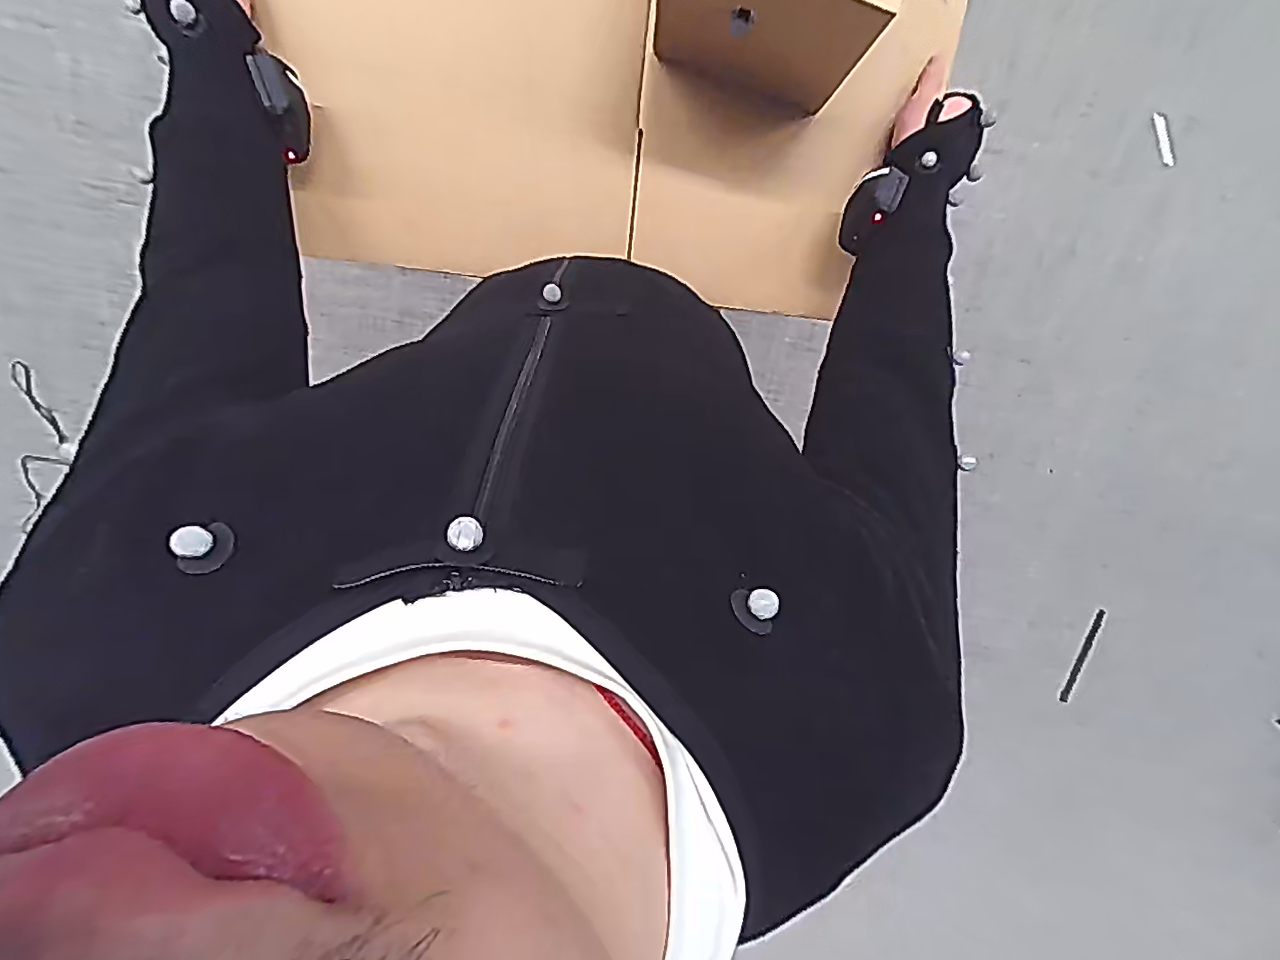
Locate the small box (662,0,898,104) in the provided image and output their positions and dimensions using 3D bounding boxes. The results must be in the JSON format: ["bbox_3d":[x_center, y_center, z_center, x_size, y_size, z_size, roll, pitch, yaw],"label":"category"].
[{"bbox_3d":[0.122,-0.448,0.440,0.179,0.176,0.168,16,104,-4],"label":"small box"}]
